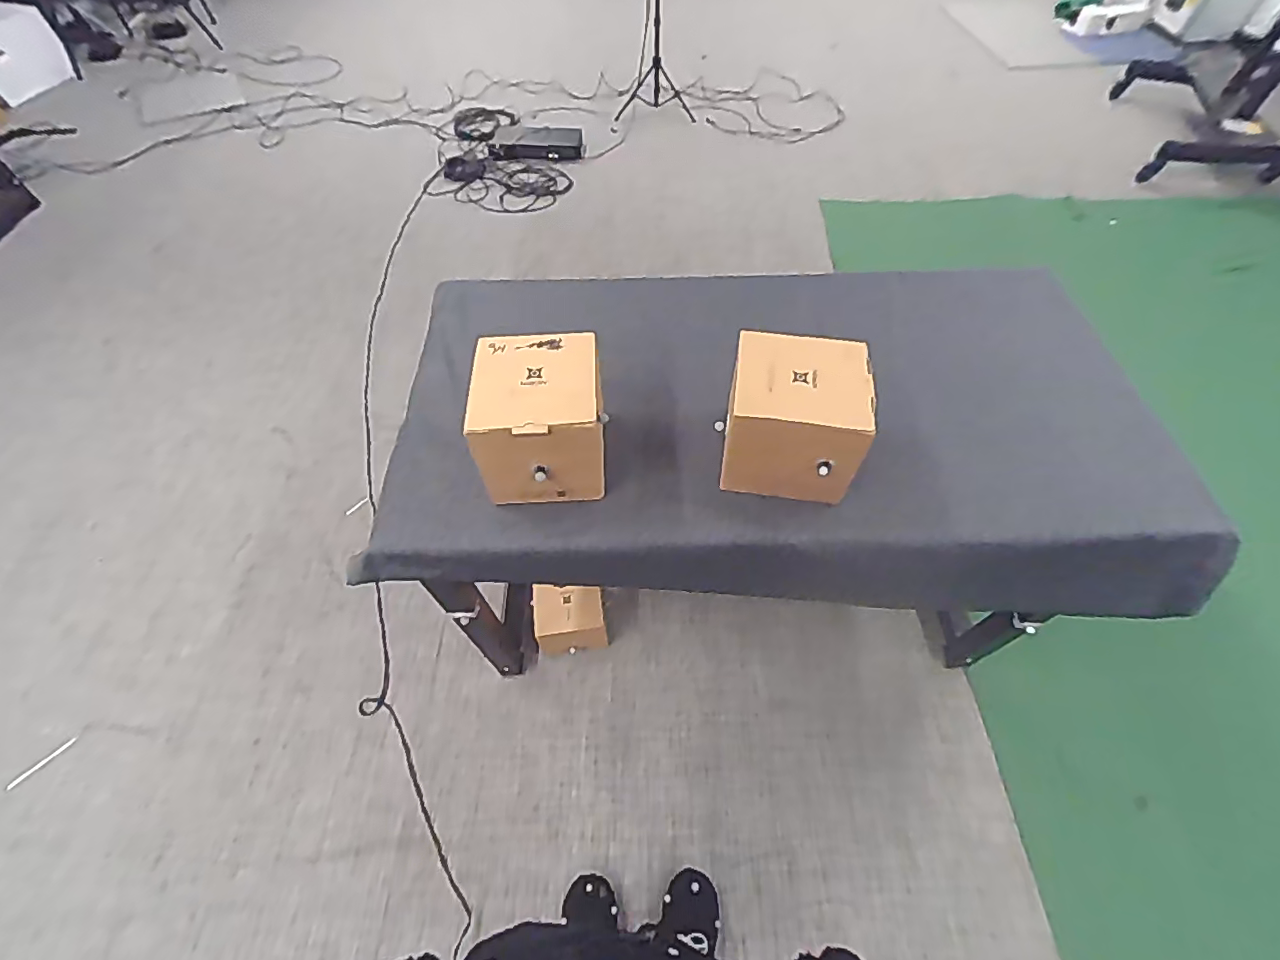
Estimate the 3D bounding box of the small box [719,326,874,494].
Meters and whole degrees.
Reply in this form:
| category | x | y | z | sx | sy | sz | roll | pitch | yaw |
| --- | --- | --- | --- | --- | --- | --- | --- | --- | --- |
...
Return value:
| category | x | y | z | sx | sy | sz | roll | pitch | yaw |
| --- | --- | --- | --- | --- | --- | --- | --- | --- | --- |
| small box | 0.216 | -0.096 | 0.780 | 0.179 | 0.176 | 0.168 | 7 | 55 | 6 |

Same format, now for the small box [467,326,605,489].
| category | x | y | z | sx | sy | sz | roll | pitch | yaw |
| --- | --- | --- | --- | --- | --- | --- | --- | --- | --- |
| small box | -0.137 | -0.096 | 0.778 | 0.168 | 0.176 | 0.179 | -3 | 56 | -2 |

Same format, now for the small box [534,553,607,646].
| category | x | y | z | sx | sy | sz | roll | pitch | yaw |
| --- | --- | --- | --- | --- | --- | --- | --- | --- | --- |
| small box | -0.177 | 0.309 | 1.387 | 0.168 | 0.176 | 0.179 | -7 | 57 | -4 |
